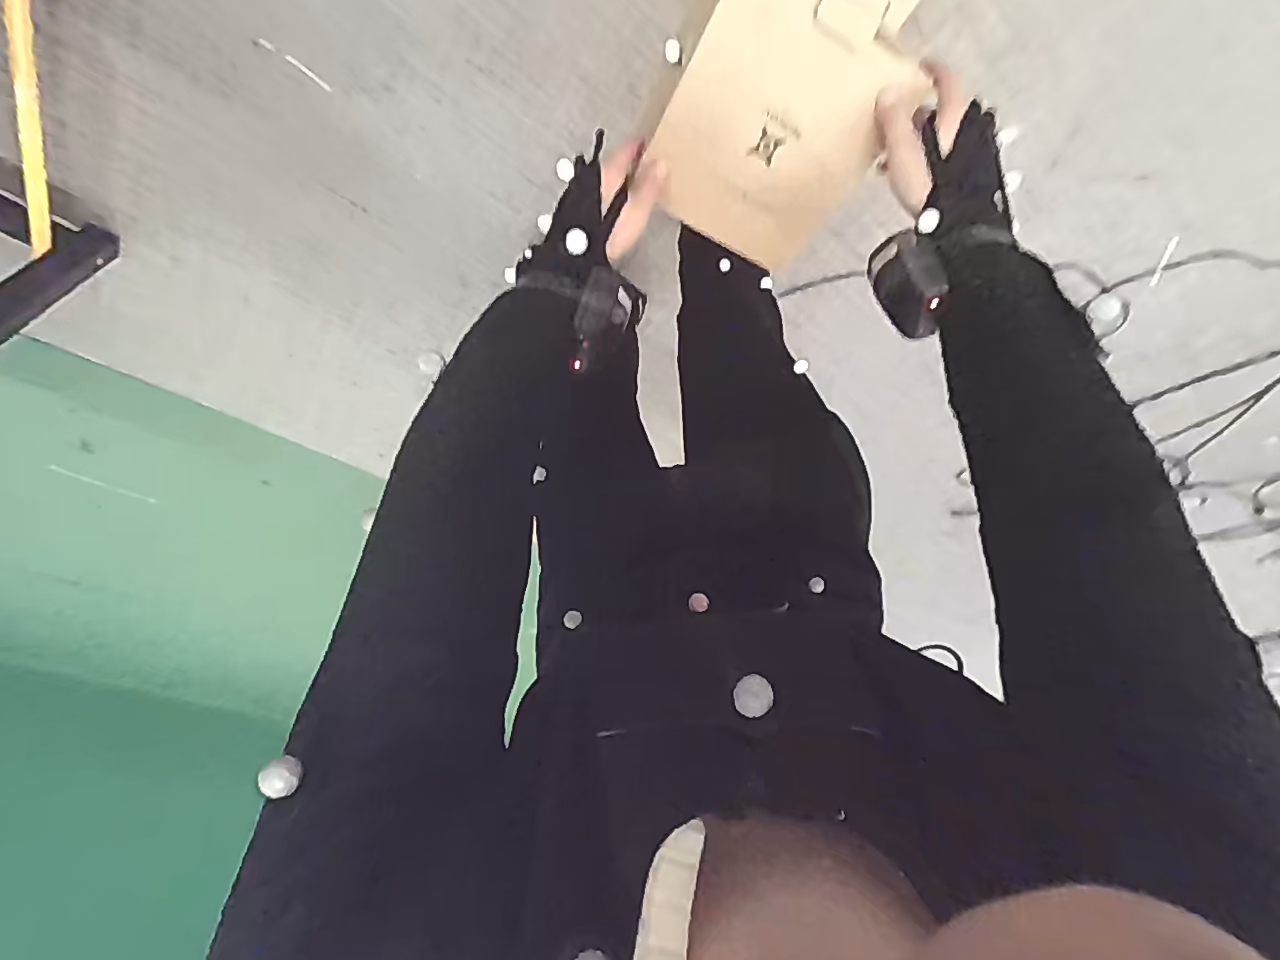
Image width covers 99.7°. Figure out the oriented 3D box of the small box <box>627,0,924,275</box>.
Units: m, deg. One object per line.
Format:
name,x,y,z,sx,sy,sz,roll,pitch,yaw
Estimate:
small box,0.101,-0.328,0.474,0.168,0.176,0.179,20,139,-19
